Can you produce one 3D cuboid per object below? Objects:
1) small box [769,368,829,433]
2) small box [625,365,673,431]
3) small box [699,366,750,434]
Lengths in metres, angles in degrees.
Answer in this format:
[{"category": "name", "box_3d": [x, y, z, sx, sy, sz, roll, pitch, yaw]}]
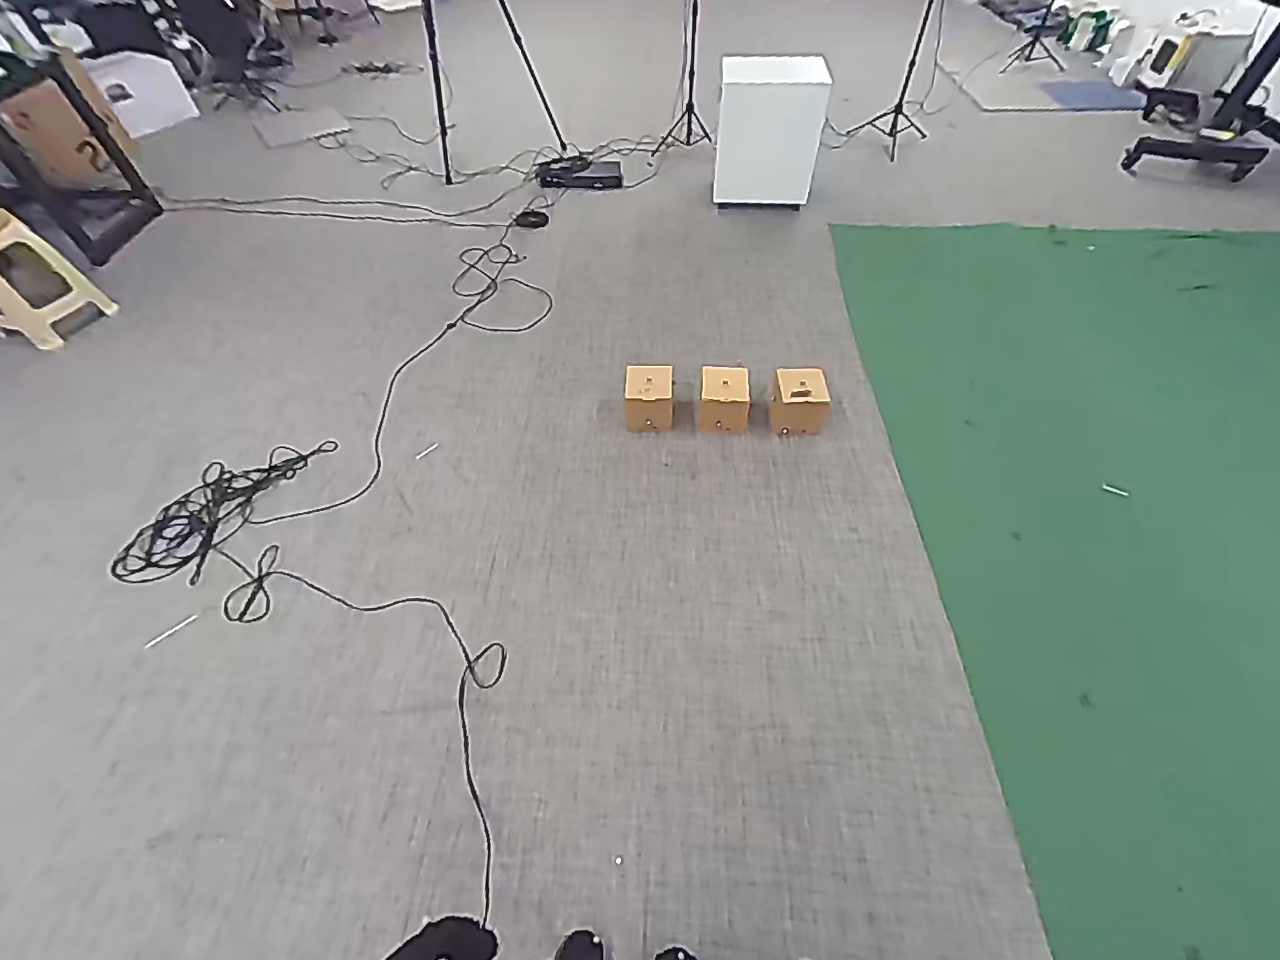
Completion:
[{"category": "small box", "box_3d": [0.571, -0.285, 1.962, 0.168, 0.176, 0.179, 0, 52, 1]}, {"category": "small box", "box_3d": [0.035, -0.302, 1.981, 0.168, 0.176, 0.179, 1, 53, 3]}, {"category": "small box", "box_3d": [0.303, -0.293, 1.973, 0.168, 0.176, 0.179, 3, 53, 3]}]
